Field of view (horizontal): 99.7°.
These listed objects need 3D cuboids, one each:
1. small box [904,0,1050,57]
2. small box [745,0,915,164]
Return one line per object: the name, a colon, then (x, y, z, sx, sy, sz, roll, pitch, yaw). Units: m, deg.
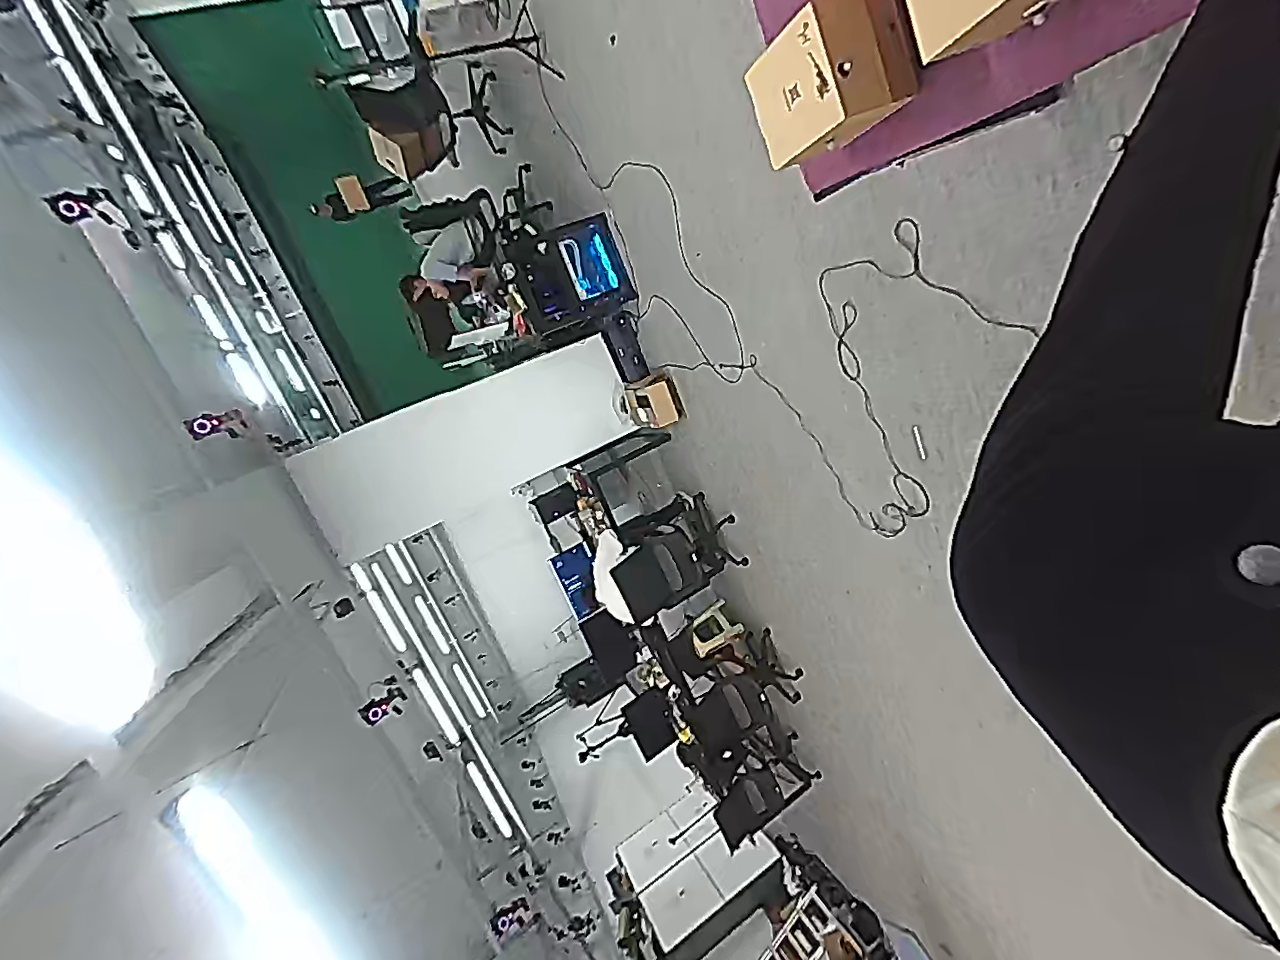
small box: (0.422, -0.643, 0.619, 0.179, 0.176, 0.168, 65, 163, -13)
small box: (0.310, -0.661, 0.893, 0.168, 0.176, 0.179, 66, 162, -14)
